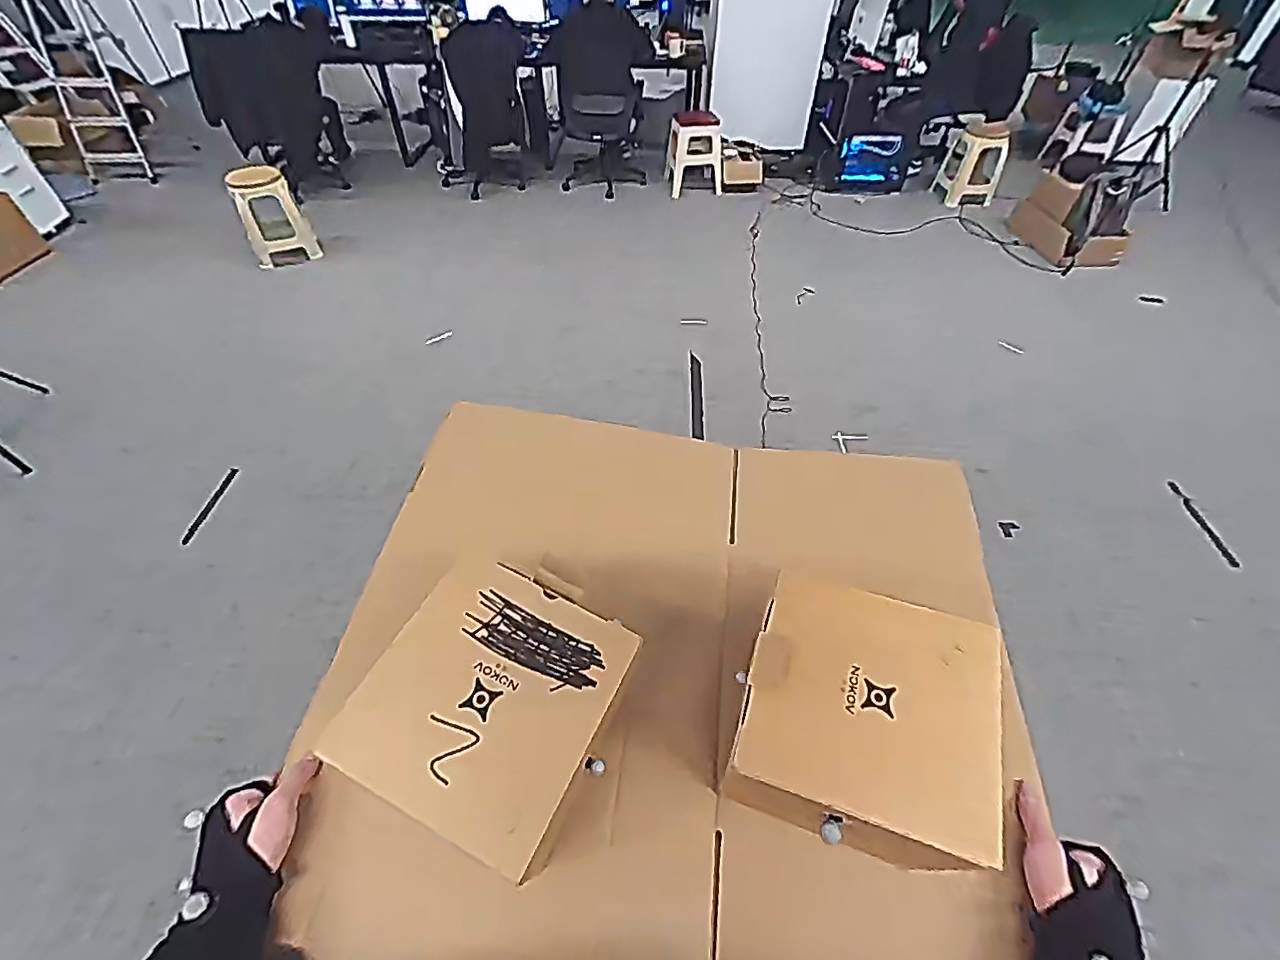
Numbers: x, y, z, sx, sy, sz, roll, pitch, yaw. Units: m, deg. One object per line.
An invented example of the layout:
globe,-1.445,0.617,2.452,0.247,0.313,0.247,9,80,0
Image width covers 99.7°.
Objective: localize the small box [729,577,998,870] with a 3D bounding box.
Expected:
small box,0.184,0.213,0.478,0.179,0.176,0.168,13,57,16
